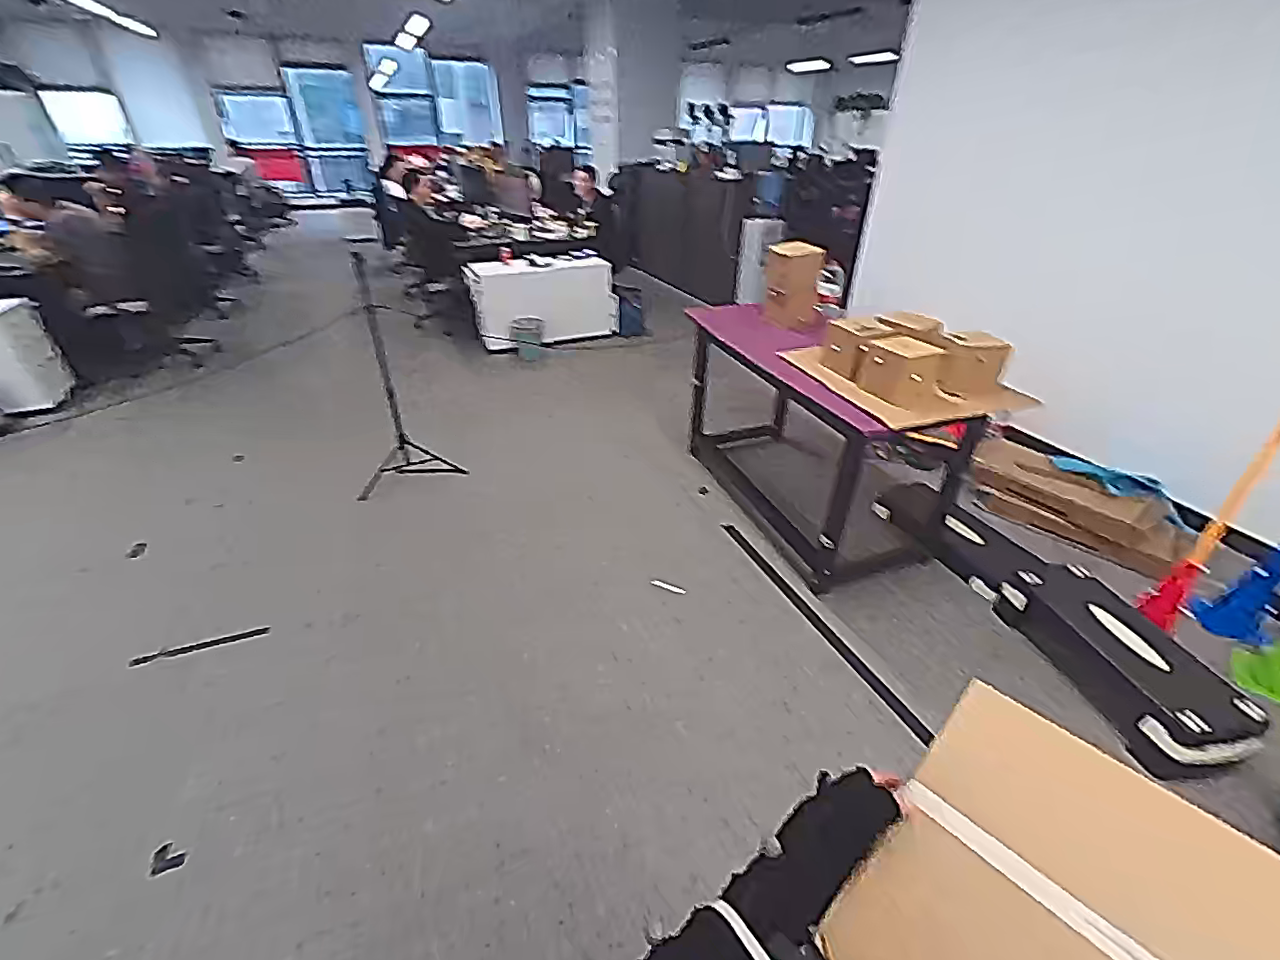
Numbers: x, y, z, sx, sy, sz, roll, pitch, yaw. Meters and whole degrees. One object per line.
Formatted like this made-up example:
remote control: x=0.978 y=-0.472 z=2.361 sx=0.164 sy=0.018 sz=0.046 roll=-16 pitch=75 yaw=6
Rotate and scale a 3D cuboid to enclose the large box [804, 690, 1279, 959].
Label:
large box: x=0.386 y=0.484 z=0.469 sx=0.320 sy=0.320 sz=0.408 roll=-32 pitch=45 yaw=-31
